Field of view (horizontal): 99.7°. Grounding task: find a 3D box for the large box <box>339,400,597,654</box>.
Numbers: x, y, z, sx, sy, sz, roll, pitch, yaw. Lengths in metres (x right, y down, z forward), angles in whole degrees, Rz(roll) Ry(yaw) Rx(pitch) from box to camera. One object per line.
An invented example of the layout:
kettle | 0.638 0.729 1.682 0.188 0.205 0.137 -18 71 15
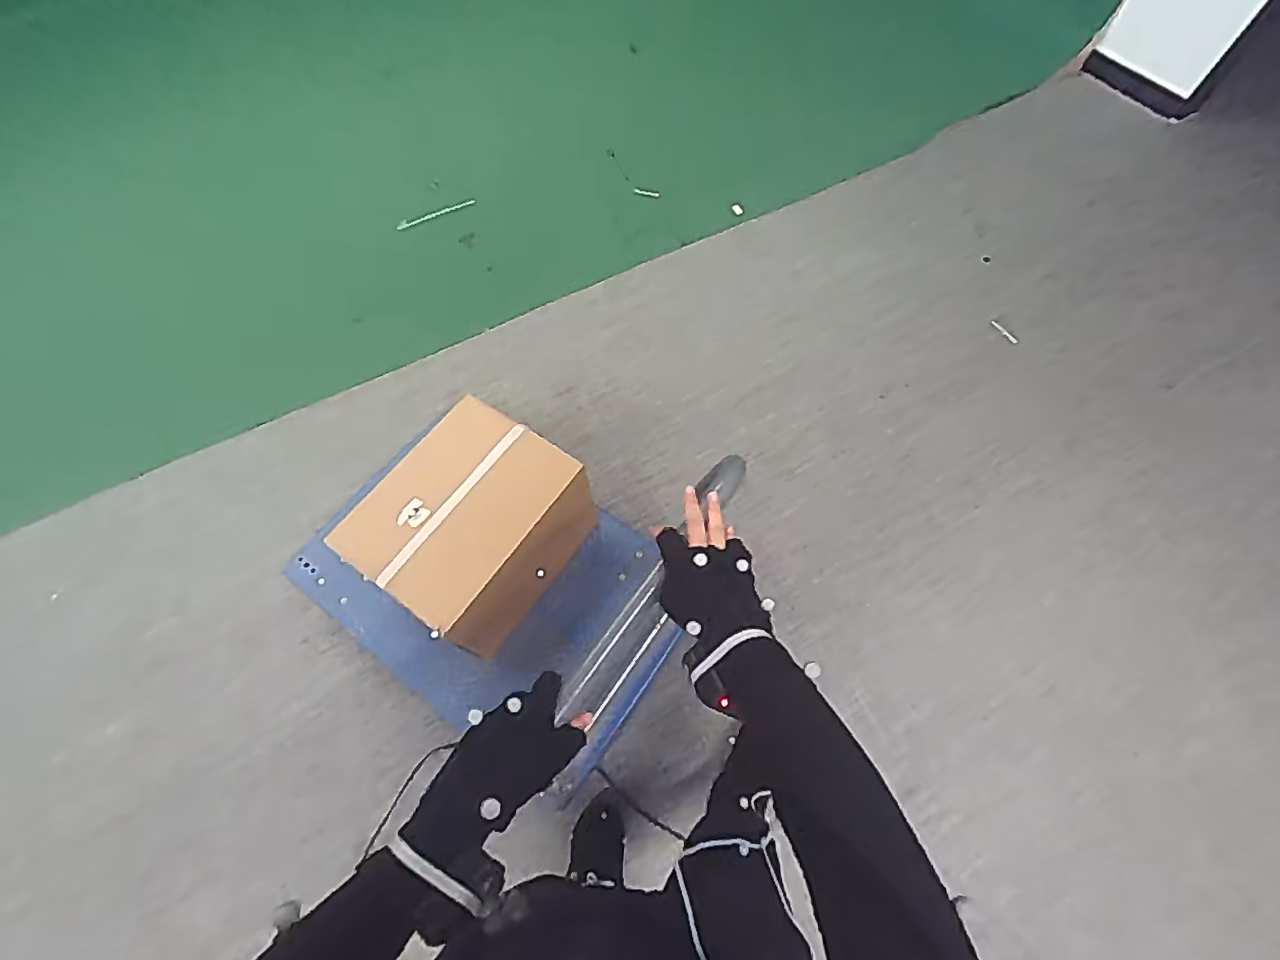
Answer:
large box | -0.338 0.111 1.192 0.320 0.320 0.408 31 69 16
